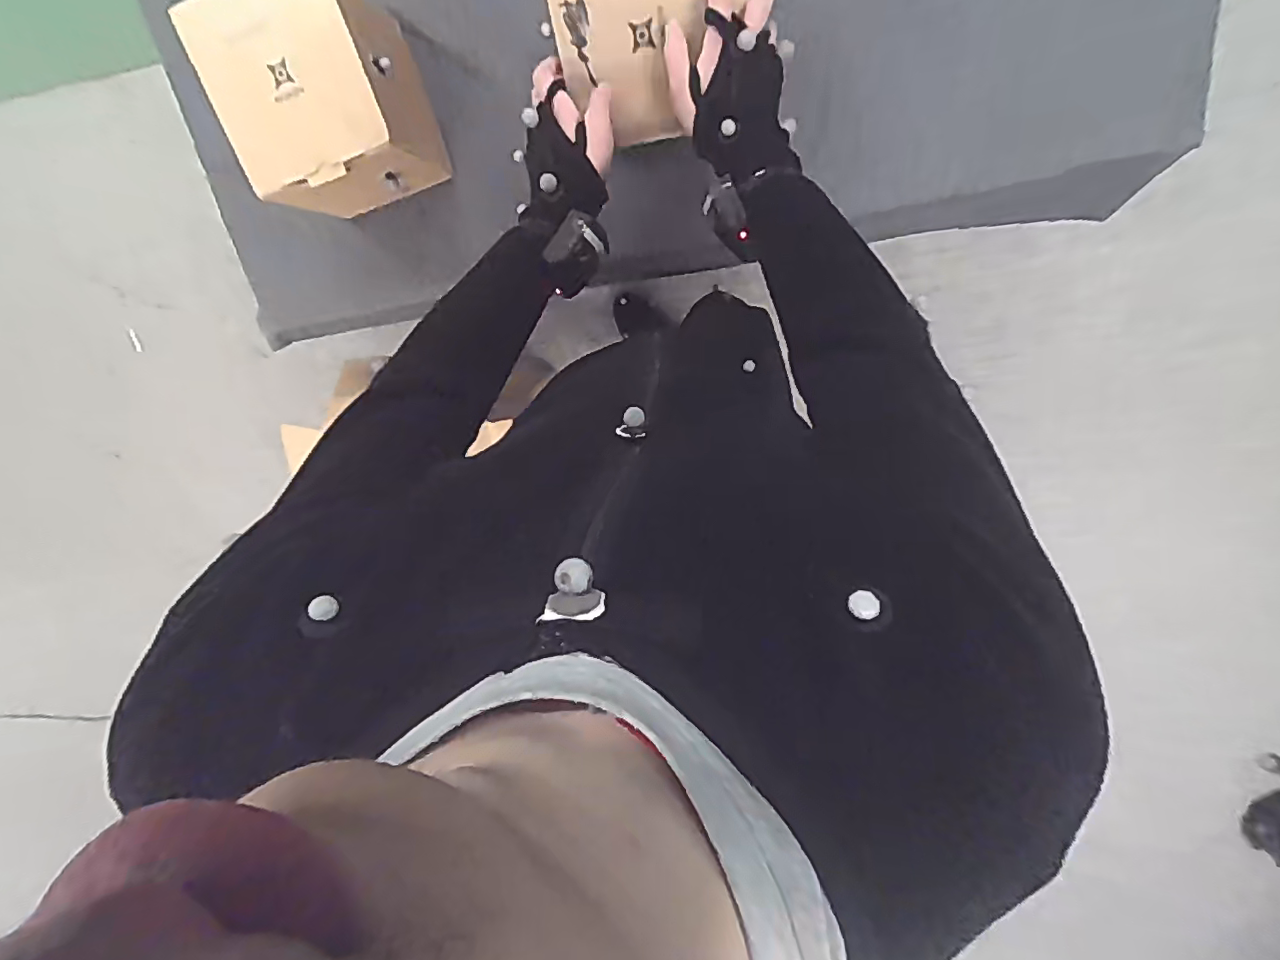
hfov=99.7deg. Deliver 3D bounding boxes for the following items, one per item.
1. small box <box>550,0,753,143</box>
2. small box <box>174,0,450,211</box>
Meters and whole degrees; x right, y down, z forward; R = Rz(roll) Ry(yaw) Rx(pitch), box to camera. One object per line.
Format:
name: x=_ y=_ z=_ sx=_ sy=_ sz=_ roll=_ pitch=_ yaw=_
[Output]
small box: x=0.011 y=-0.462 z=0.541 sx=0.179 sy=0.176 sz=0.168 roll=-7 pitch=131 yaw=7
small box: x=-0.346 y=-0.424 z=0.613 sx=0.168 sy=0.176 sz=0.179 roll=-16 pitch=106 yaw=9
